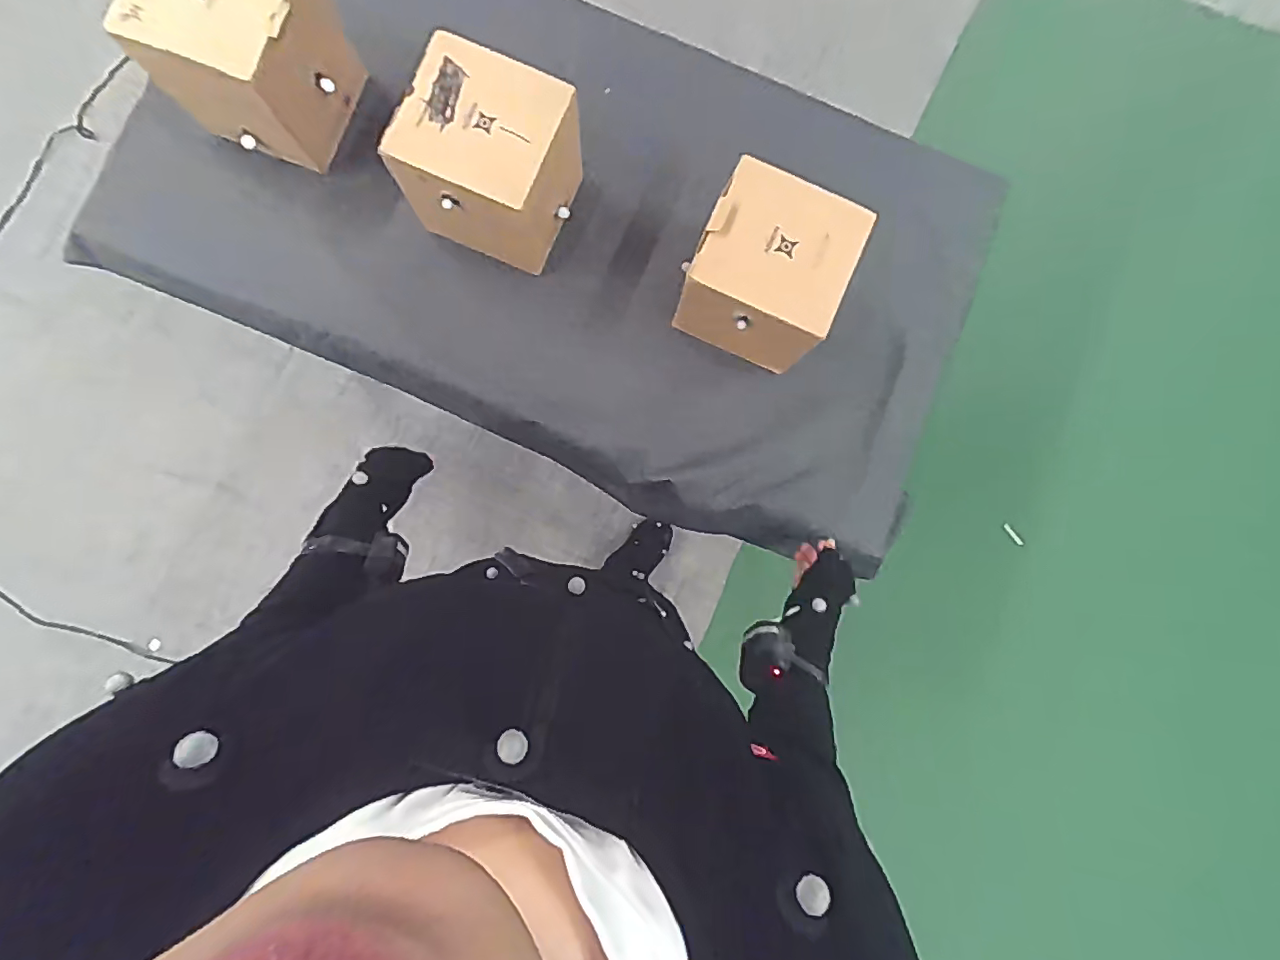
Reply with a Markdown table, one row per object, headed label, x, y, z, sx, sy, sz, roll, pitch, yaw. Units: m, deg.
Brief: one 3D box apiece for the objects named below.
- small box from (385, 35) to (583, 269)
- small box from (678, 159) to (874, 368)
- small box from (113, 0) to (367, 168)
| label | x | y | z | sx | sy | sz | roll | pitch | yaw |
| --- | --- | --- | --- | --- | --- | --- | --- | --- | --- |
| small box | -0.185 | -0.405 | 0.701 | 0.179 | 0.176 | 0.168 | 22 | 85 | -2 |
| small box | 0.163 | -0.266 | 0.710 | 0.179 | 0.176 | 0.168 | 24 | 86 | -2 |
| small box | -0.489 | -0.544 | 0.695 | 0.179 | 0.176 | 0.168 | 20 | 85 | -2 |
